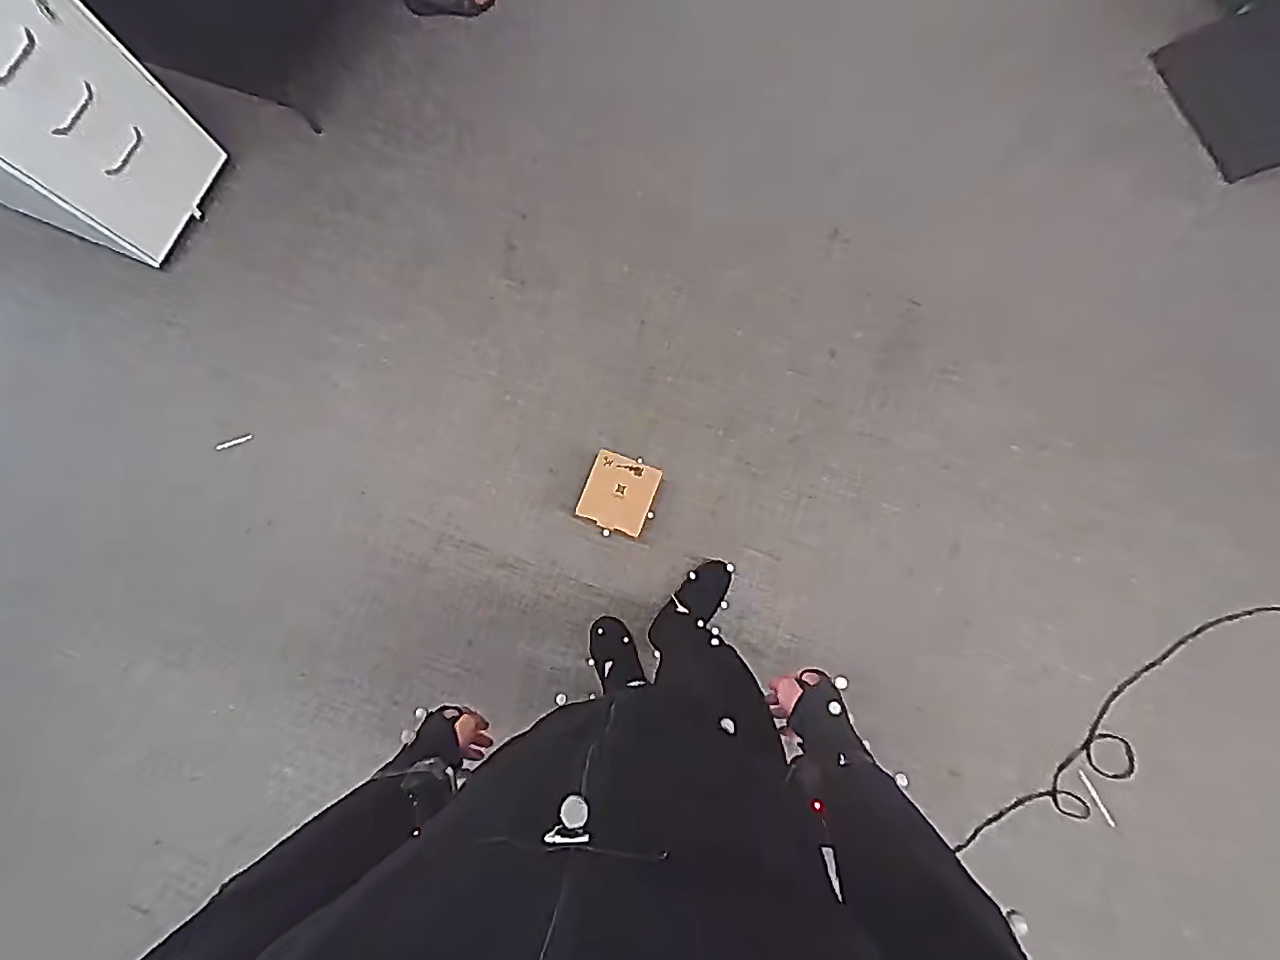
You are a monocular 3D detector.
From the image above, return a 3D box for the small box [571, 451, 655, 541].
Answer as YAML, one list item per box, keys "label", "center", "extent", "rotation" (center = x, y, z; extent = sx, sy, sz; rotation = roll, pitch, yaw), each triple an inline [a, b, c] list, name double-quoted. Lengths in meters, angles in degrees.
- label: "small box"
  center: [-0.063, 0.048, 1.395]
  extent: [0.168, 0.176, 0.179]
  rotation: [19, 79, 4]
